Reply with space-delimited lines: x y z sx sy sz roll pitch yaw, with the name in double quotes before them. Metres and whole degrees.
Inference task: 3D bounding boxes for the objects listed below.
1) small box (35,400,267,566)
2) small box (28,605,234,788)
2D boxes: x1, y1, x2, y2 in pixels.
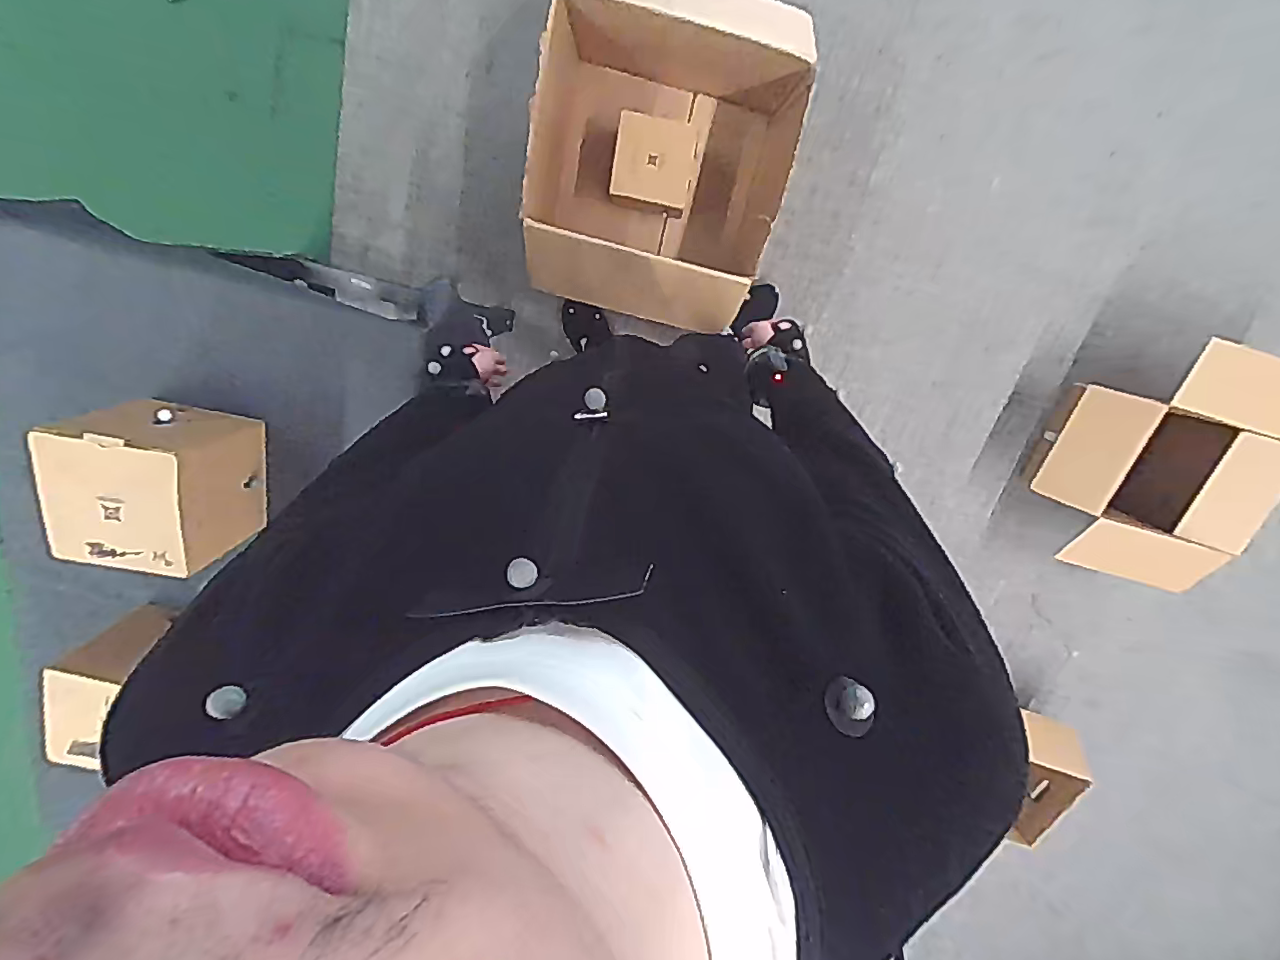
"small box" -0.652 -0.004 0.748 0.168 0.176 0.179 8 110 -6
"small box" -0.775 0.329 0.840 0.168 0.176 0.179 20 108 -10
